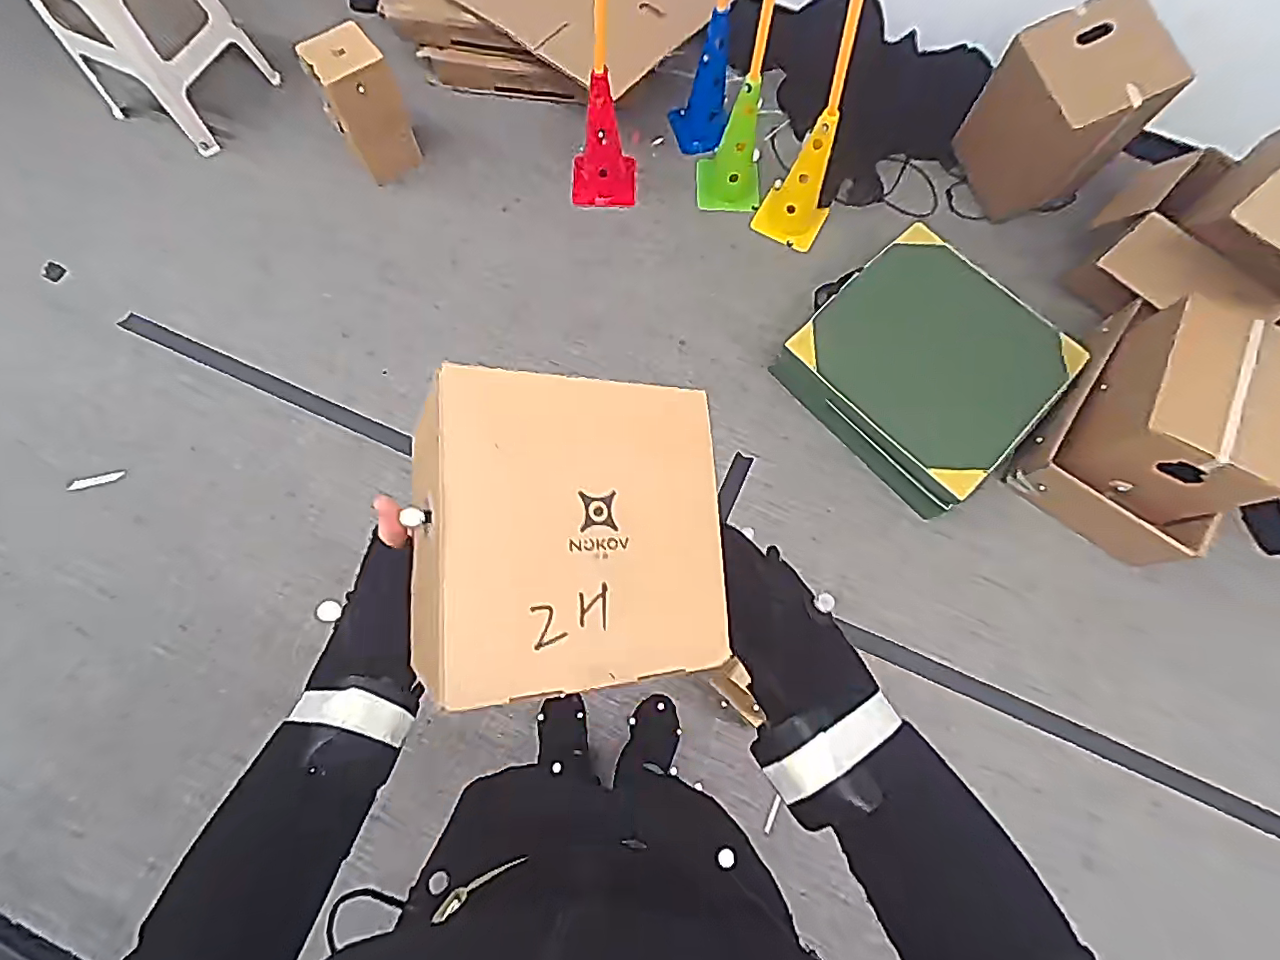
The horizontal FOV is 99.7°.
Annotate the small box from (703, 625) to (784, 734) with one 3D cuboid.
[{"bbox_3d":[0.266,0.451,1.248,0.179,0.176,0.168,40,76,8],"label":"small box"}]

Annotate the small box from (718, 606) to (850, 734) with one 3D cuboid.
[{"bbox_3d":[0.281,0.379,1.097,0.179,0.176,0.168,38,76,8],"label":"small box"}]

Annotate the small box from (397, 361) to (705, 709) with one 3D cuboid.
[{"bbox_3d":[-0.070,0.041,0.371,0.168,0.176,0.179,5,81,-25],"label":"small box"}]
